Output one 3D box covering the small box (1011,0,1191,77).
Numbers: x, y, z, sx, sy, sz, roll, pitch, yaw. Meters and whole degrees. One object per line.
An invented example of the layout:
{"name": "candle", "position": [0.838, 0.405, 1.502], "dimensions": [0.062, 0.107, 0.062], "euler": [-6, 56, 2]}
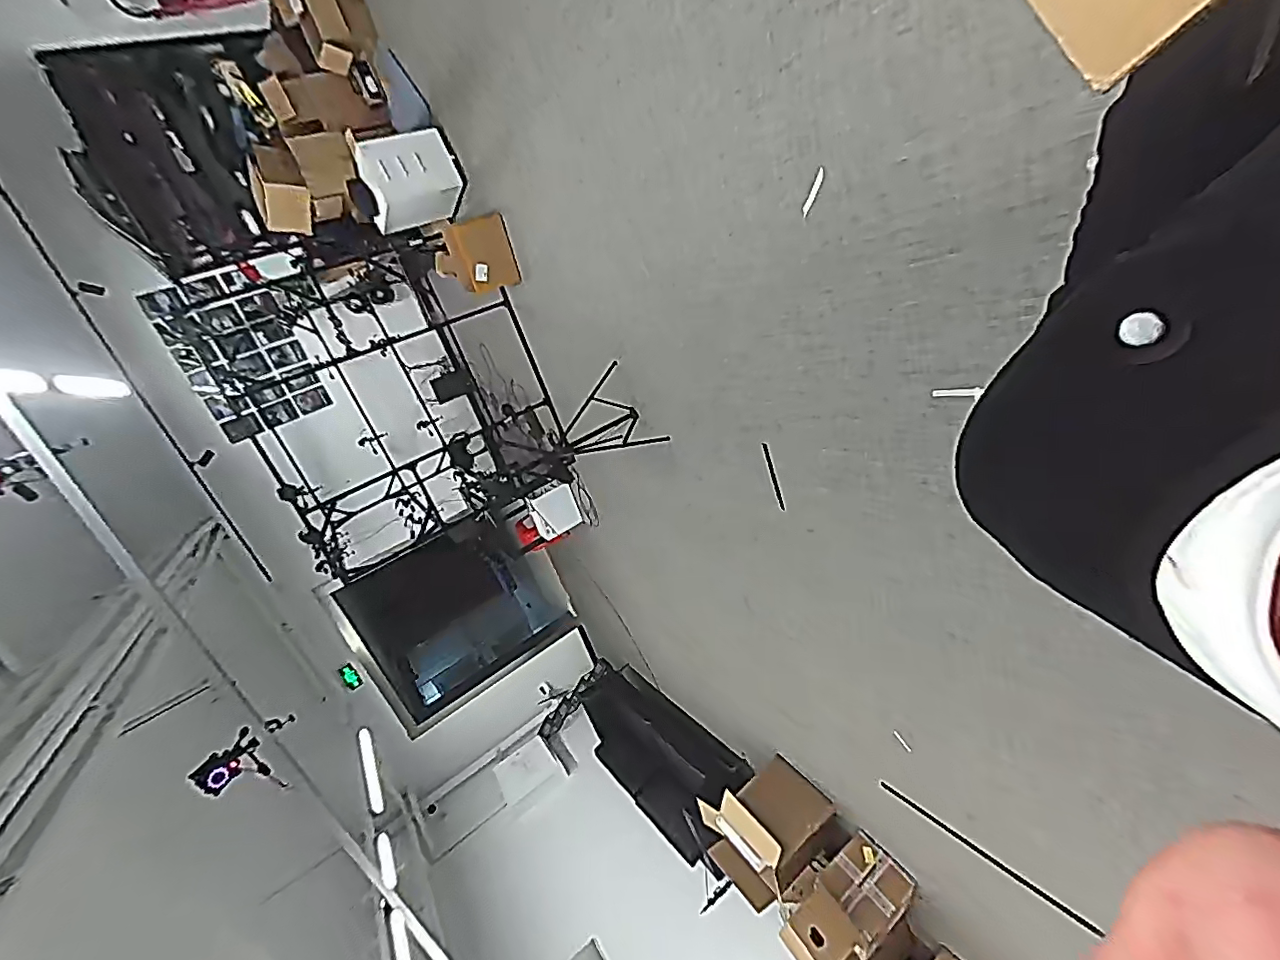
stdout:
{"name": "small box", "position": [0.211, -0.290, 0.160], "dimensions": [0.179, 0.176, 0.168], "euler": [52, 172, -1]}
